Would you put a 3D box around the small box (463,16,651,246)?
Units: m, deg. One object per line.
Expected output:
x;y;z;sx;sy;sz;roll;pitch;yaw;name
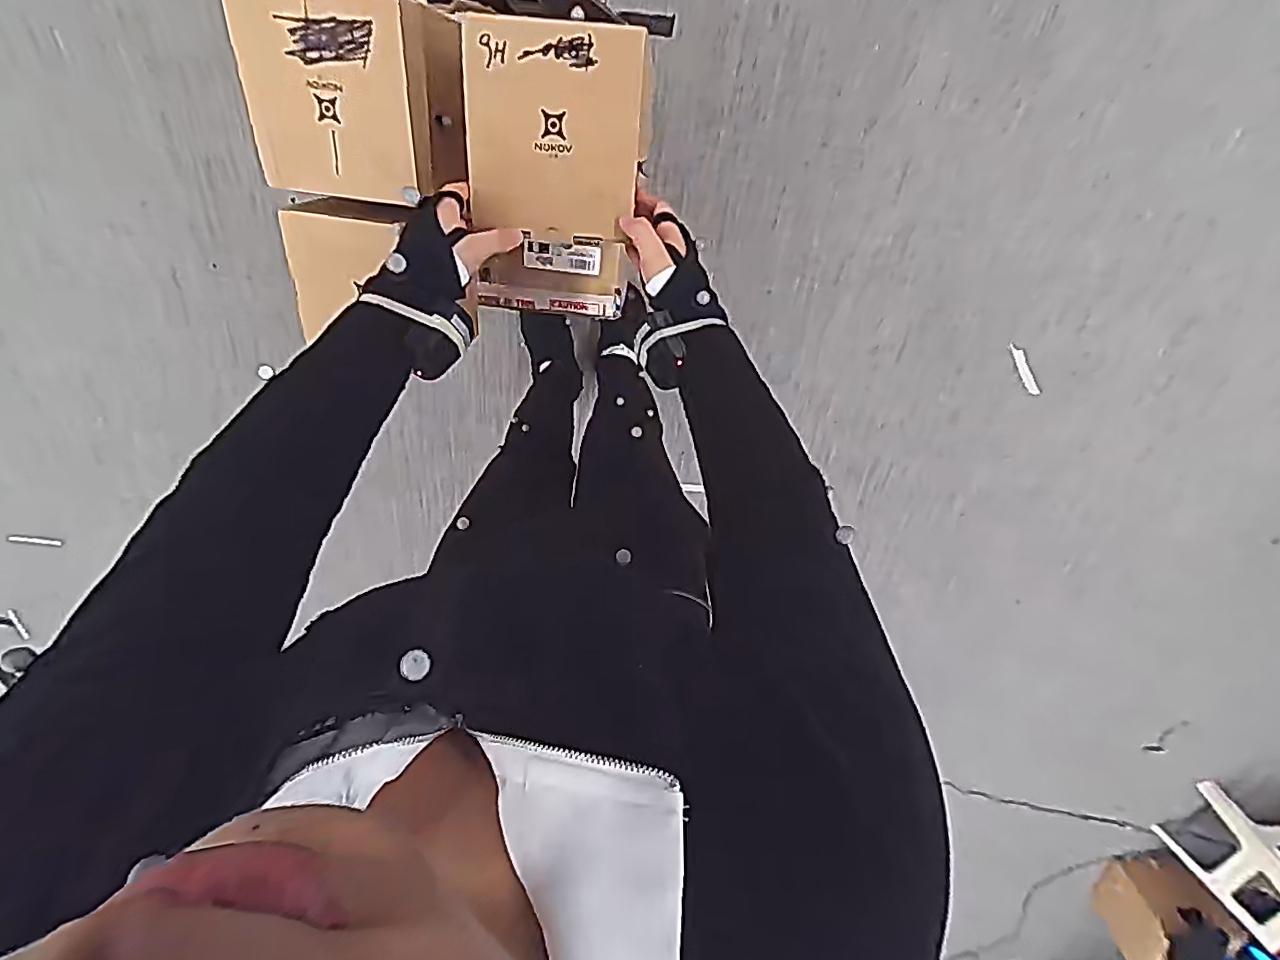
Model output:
-0.078;-0.361;0.584;0.168;0.176;0.179;5;117;0;small box
